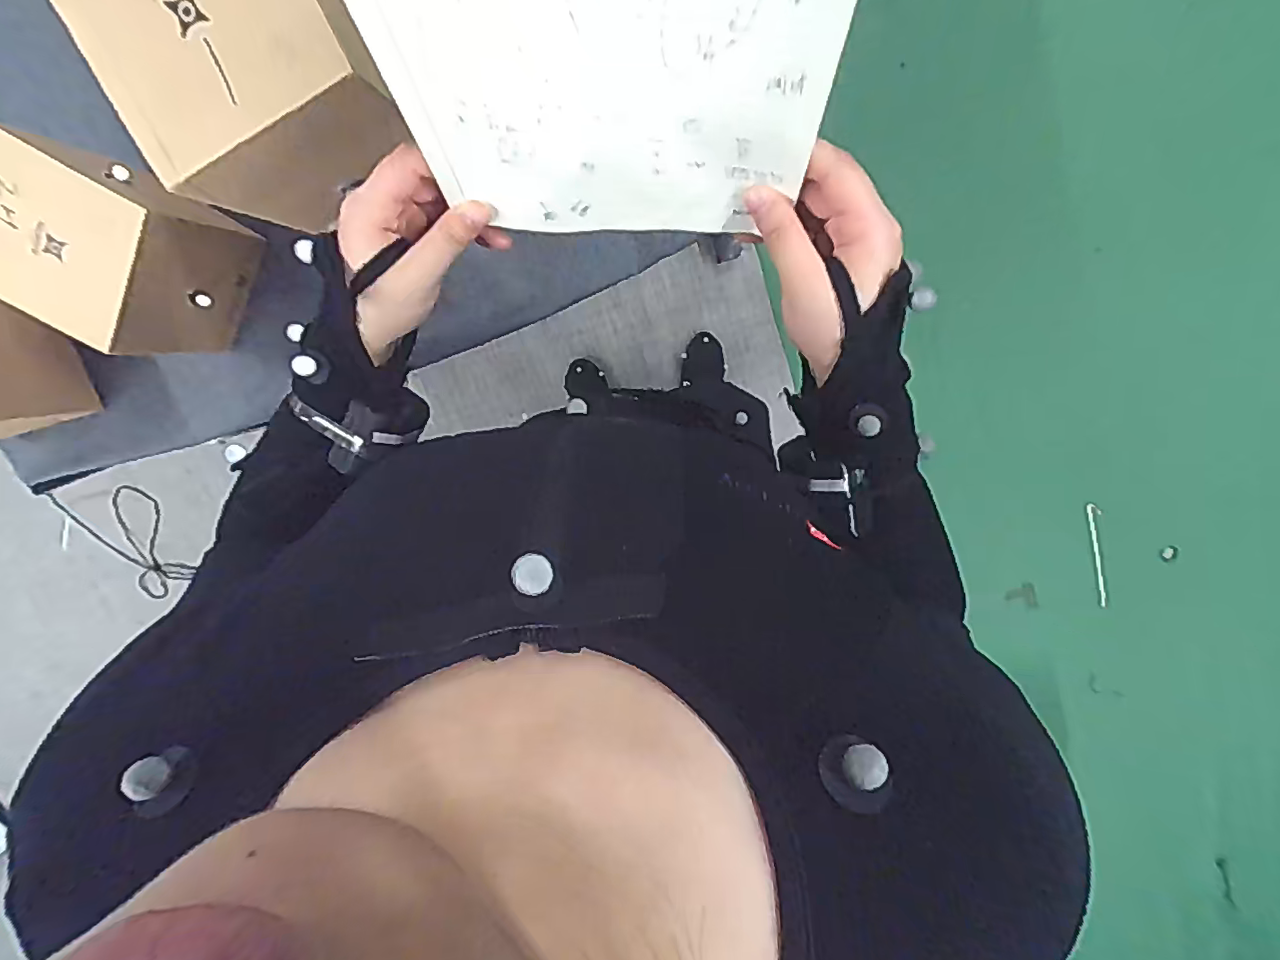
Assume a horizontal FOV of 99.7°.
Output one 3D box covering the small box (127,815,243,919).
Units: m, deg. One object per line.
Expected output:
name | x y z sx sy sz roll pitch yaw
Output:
small box | -1.219 1.045 1.469 0.179 0.176 0.168 2 105 1

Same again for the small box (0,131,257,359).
small box | -0.601 -0.260 0.631 0.179 0.176 0.168 29 104 -4

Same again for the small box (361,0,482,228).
small box | -0.283 -0.380 0.578 0.179 0.176 0.168 10 105 2

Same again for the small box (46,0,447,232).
small box | -0.287 -0.324 0.423 0.168 0.176 0.179 -23 102 10

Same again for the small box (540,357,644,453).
small box | -0.115 -0.186 1.356 0.176 0.168 0.179 29 80 -33
